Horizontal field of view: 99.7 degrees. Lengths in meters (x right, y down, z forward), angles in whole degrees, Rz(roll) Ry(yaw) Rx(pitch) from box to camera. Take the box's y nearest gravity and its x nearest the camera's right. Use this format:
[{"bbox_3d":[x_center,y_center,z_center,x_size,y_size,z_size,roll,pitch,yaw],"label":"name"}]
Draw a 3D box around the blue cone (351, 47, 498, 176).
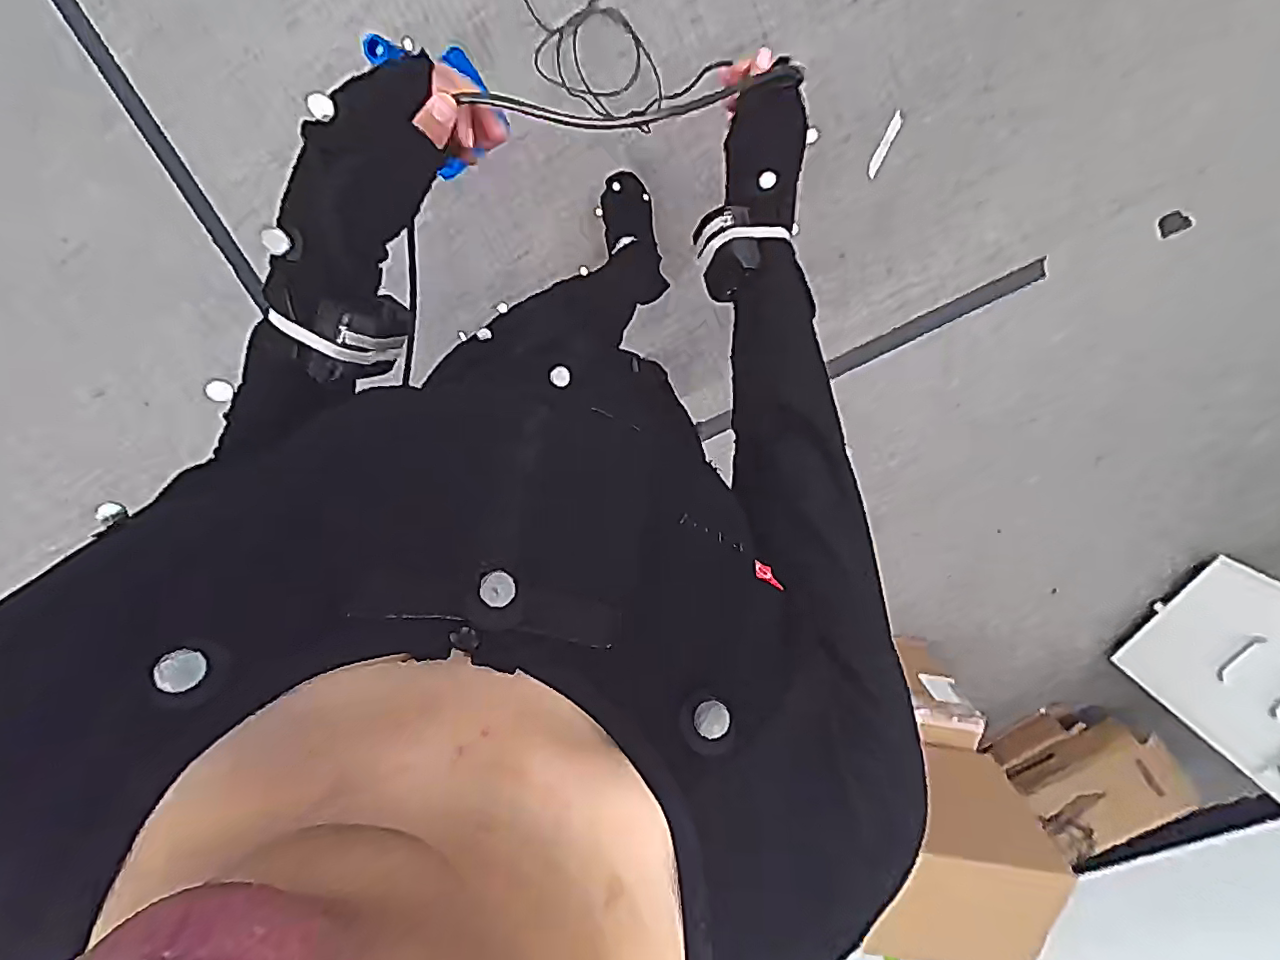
[{"bbox_3d":[-0.442,-0.762,1.062,0.192,0.380,0.193,-30,106,12],"label":"blue cone"}]
